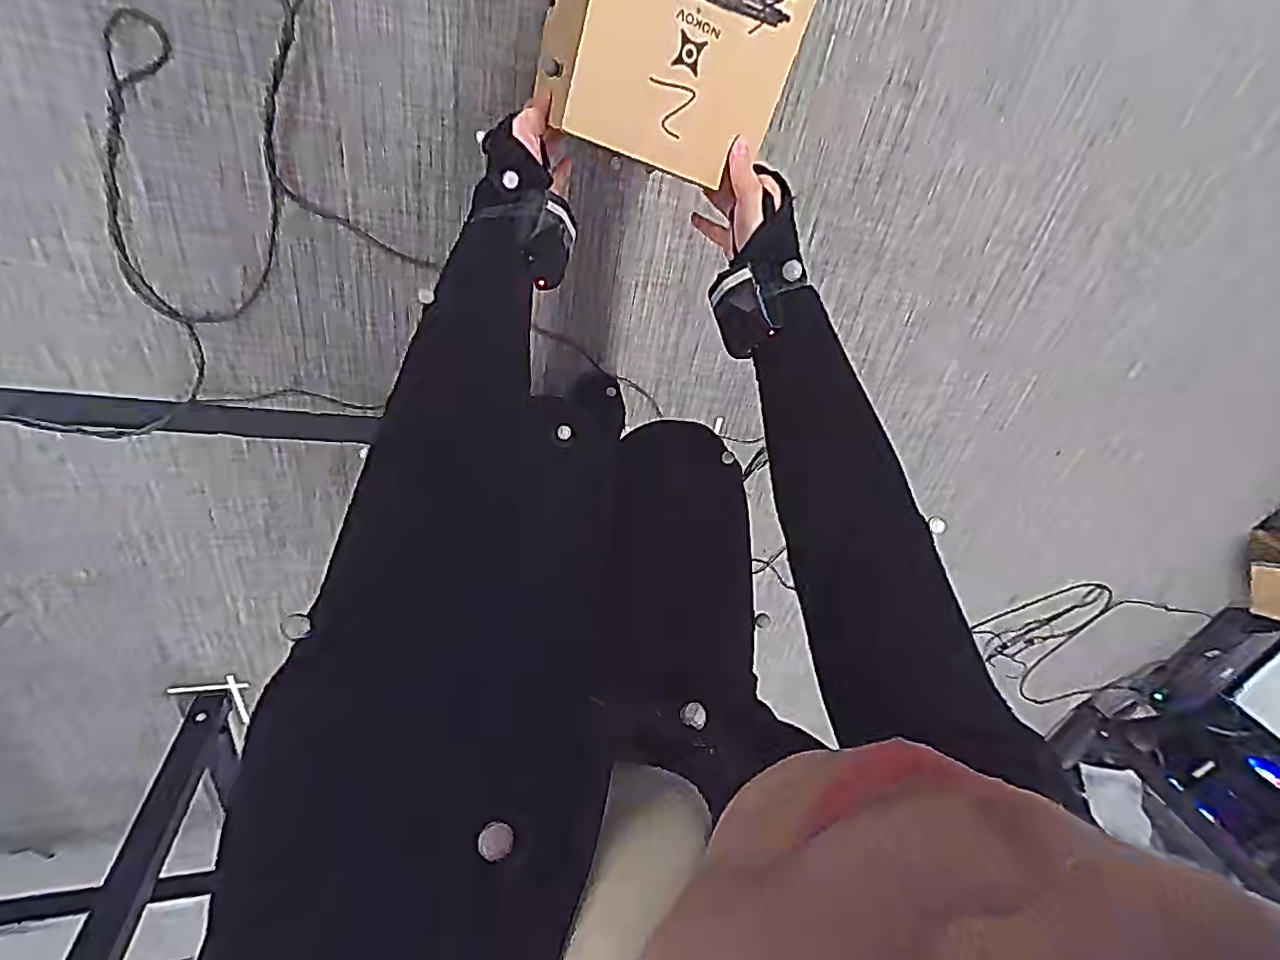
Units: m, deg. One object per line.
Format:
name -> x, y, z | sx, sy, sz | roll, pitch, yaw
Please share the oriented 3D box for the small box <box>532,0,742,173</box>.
small box -> -0.020, -0.464, 0.606 | 0.179, 0.176, 0.168 | 7, 120, -20
